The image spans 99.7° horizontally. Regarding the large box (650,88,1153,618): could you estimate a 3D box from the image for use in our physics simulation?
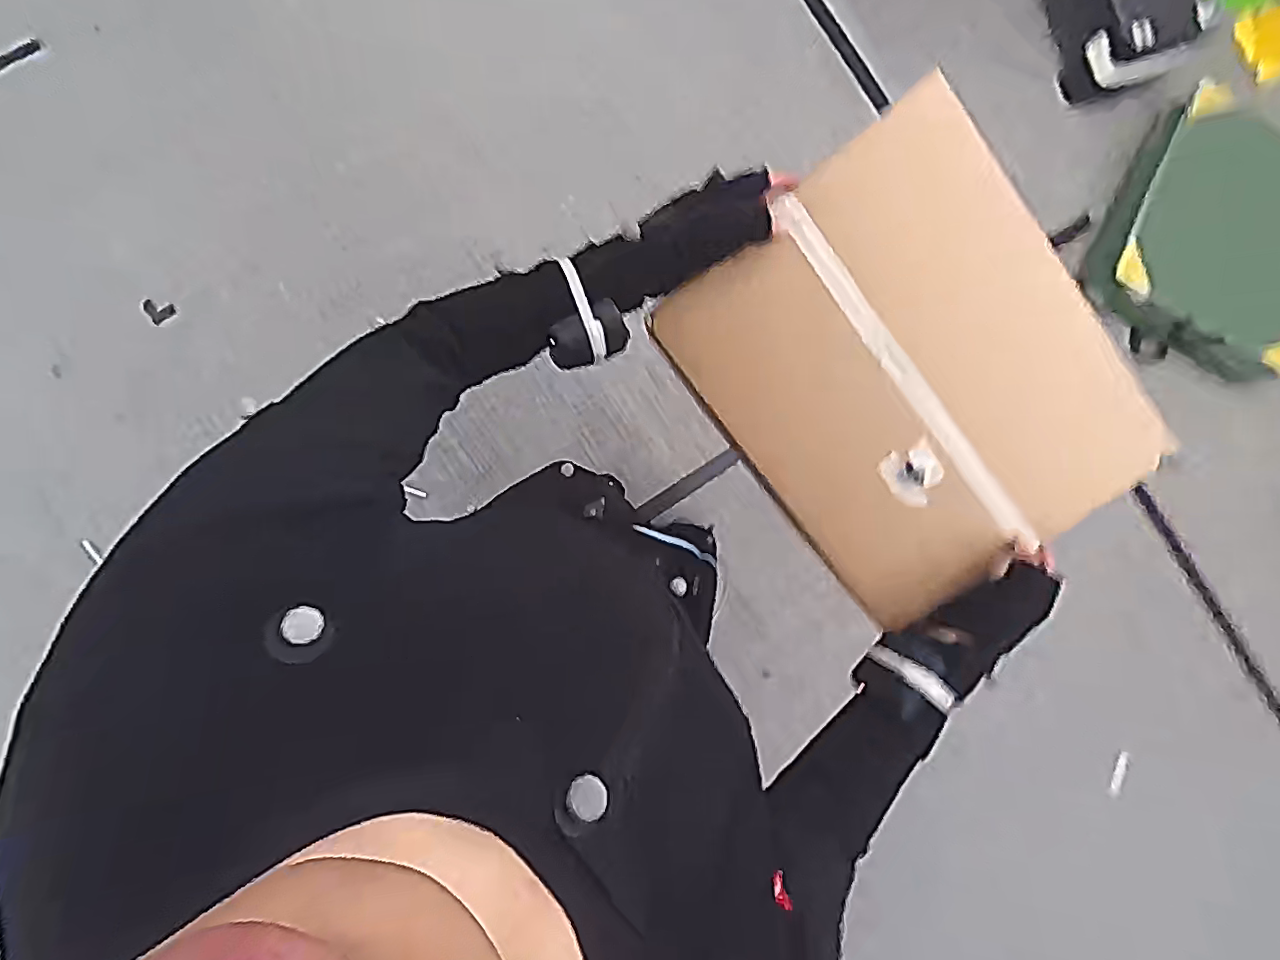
[{"bbox_3d":[0.251,-0.128,0.654,0.320,0.320,0.408,-38,99,10],"label":"large box"}]
